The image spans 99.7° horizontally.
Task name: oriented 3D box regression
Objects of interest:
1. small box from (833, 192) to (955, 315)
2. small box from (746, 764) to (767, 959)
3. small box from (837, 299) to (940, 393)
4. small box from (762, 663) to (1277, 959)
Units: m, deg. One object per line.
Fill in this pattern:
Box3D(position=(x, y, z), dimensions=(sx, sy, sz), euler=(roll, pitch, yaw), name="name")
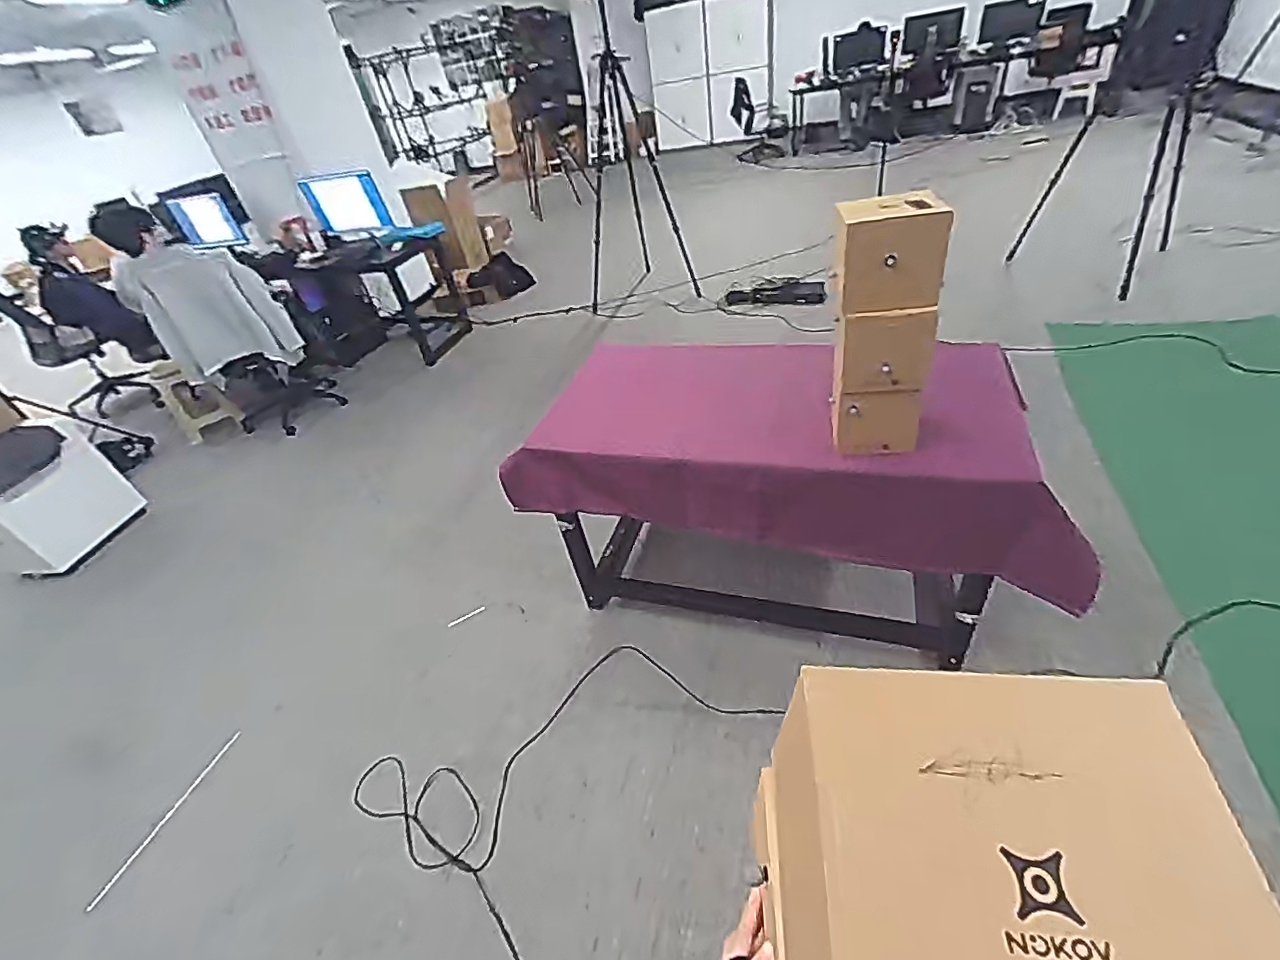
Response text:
Box3D(position=(0.472, -0.431, 1.034), dimensions=(0.179, 0.176, 0.168), euler=(-2, 38, 14), name="small box")
Box3D(position=(0.170, 0.319, 0.393), dimensions=(0.179, 0.176, 0.168), euler=(-2, 50, 6), name="small box")
Box3D(position=(0.505, -0.296, 1.123), dimensions=(0.168, 0.176, 0.179), euler=(0, 39, 16), name="small box")
Box3D(position=(0.153, 0.212, 0.271), dimensions=(0.168, 0.176, 0.179), euler=(1, 49, 7), name="small box")
